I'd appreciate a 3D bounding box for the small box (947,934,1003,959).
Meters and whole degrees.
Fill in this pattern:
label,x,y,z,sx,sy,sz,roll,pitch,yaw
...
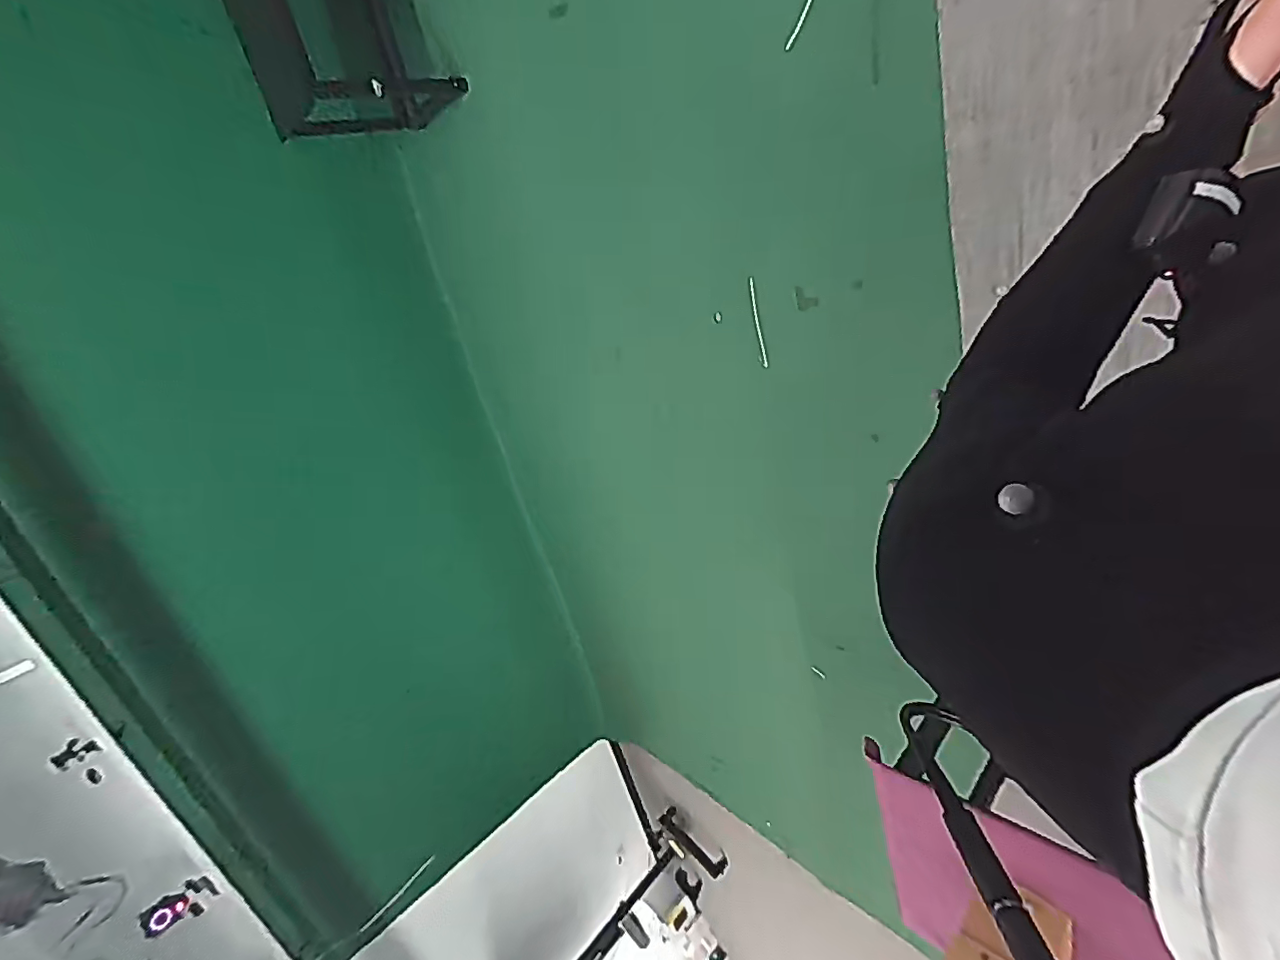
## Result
label,x,y,z,sx,sy,sz,roll,pitch,yaw
small box,0.695,1.067,1.068,0.168,0.176,0.179,7,123,48

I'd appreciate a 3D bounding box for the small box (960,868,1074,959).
label,x,y,z,sx,sy,sz,roll,pitch,yaw
small box,0.811,1.000,1.162,0.168,0.176,0.179,8,122,48
